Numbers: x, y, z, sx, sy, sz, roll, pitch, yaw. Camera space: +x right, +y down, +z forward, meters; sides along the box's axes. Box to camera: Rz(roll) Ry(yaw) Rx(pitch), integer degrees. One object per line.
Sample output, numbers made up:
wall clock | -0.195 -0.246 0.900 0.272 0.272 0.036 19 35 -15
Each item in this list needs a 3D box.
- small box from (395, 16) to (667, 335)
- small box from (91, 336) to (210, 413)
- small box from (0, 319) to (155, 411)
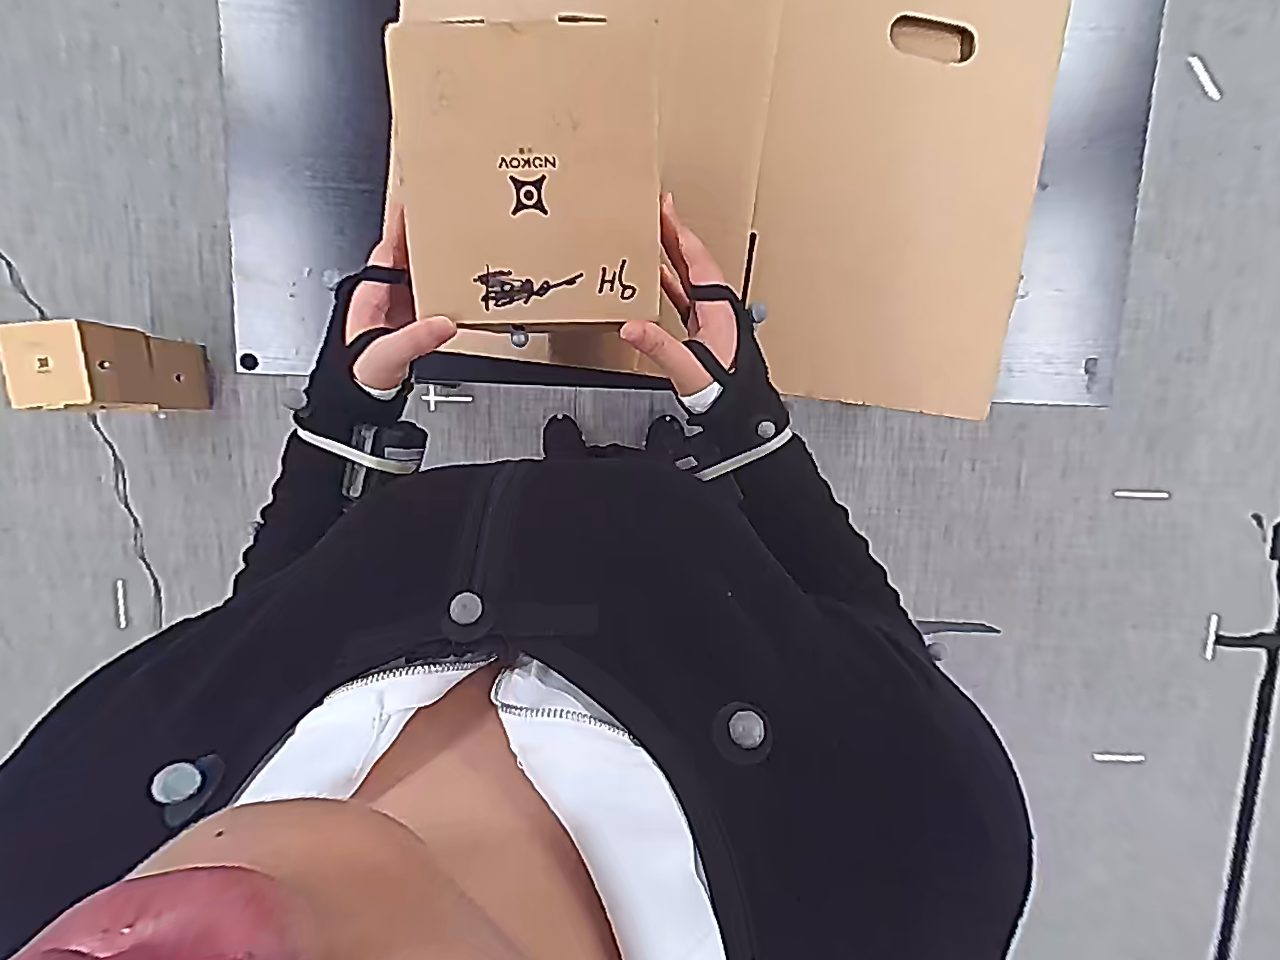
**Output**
small box | -0.065 -0.207 0.418 0.168 0.176 0.179 0 103 2
small box | -1.226 -0.259 1.352 0.168 0.176 0.179 -2 97 -1
small box | -1.224 -0.246 1.190 0.168 0.176 0.179 -5 96 -2
